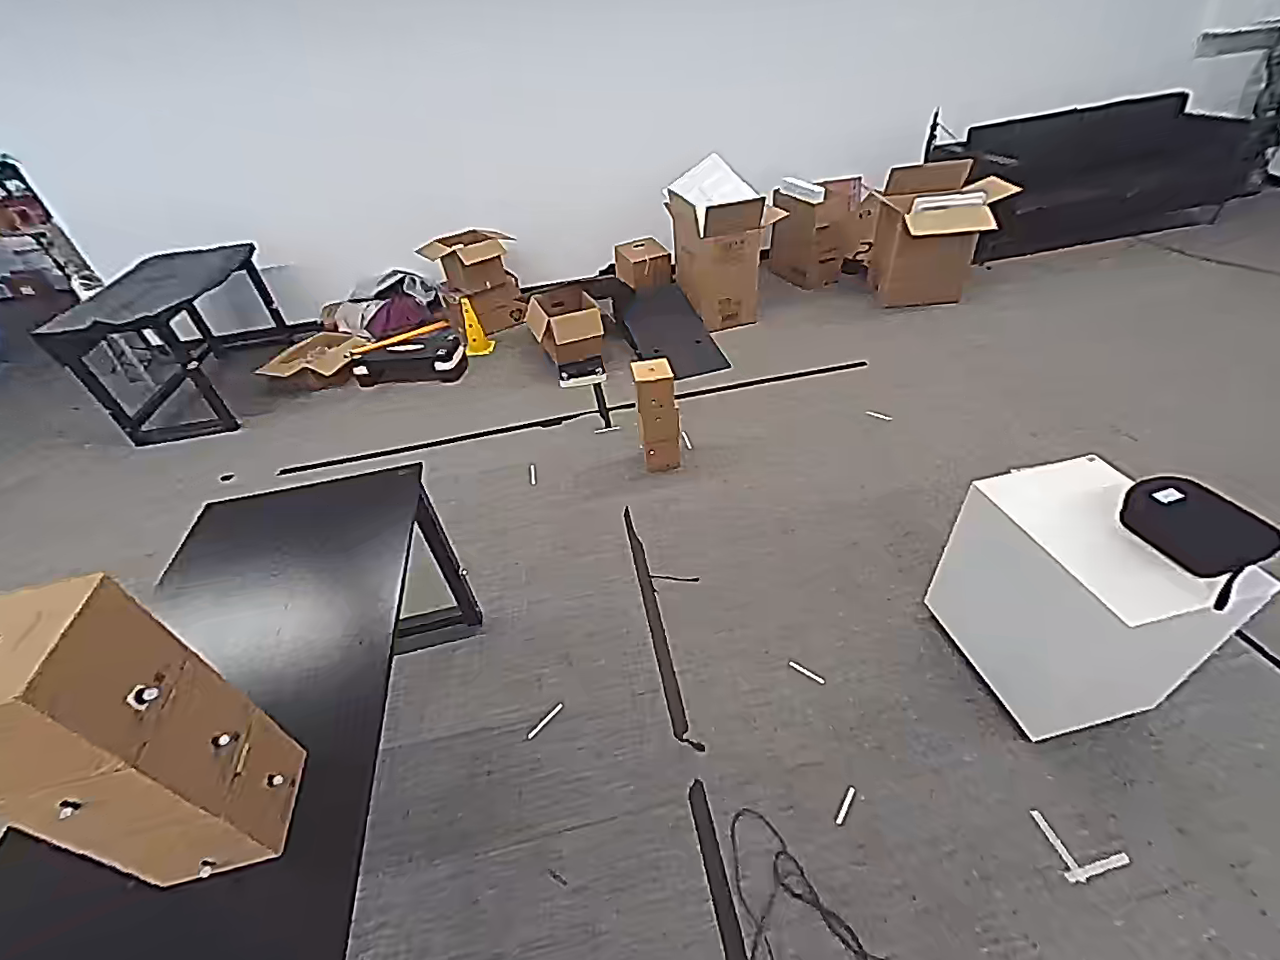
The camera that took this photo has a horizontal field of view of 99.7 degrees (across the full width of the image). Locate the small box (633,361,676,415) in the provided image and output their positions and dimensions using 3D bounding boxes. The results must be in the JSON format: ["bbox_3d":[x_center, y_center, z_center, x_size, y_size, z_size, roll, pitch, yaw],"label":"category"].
[{"bbox_3d":[0.064,-0.413,2.433,0.168,0.176,0.179,-9,40,-4],"label":"small box"}]

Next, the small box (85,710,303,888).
[{"bbox_3d":[-0.659,0.490,0.832,0.179,0.176,0.168,-12,40,-7],"label":"small box"}]

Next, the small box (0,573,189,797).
[{"bbox_3d":[-0.689,0.239,0.623,0.179,0.176,0.168,-12,41,-7],"label":"small box"}]

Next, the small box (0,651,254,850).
[{"bbox_3d":[-0.675,0.364,0.727,0.179,0.176,0.168,-12,41,-7],"label":"small box"}]

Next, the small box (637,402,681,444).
[{"bbox_3d":[0.088,-0.286,2.533,0.179,0.176,0.168,-10,40,-6],"label":"small box"}]
